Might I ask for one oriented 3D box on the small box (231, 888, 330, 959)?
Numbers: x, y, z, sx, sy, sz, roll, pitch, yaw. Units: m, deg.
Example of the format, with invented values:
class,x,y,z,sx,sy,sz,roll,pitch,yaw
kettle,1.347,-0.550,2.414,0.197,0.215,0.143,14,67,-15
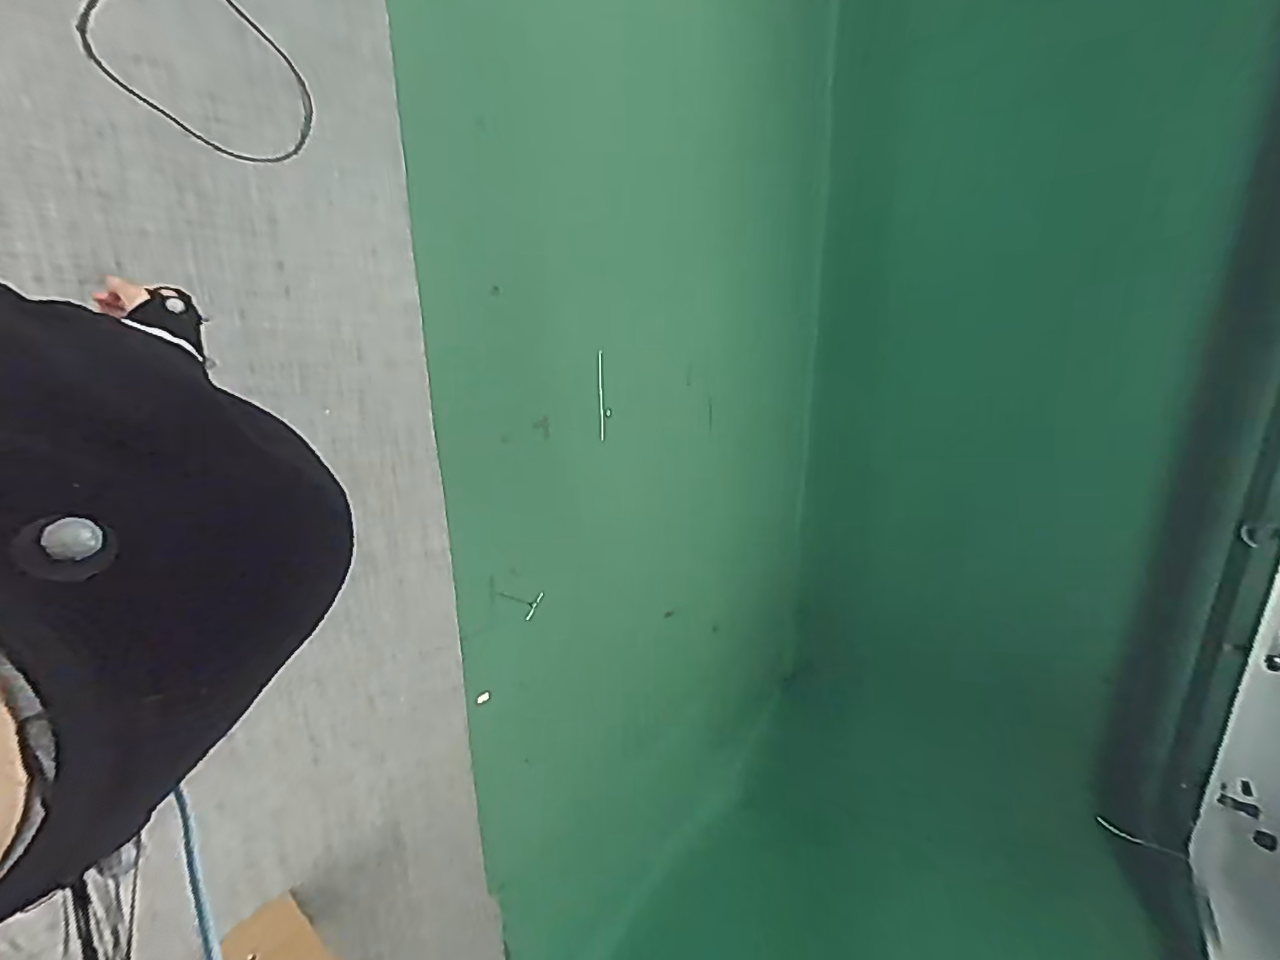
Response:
class,x,y,z,sx,sy,sz,roll,pitch,yaw
small box,-0.982,1.282,1.473,0.179,0.176,0.168,-21,115,-49
